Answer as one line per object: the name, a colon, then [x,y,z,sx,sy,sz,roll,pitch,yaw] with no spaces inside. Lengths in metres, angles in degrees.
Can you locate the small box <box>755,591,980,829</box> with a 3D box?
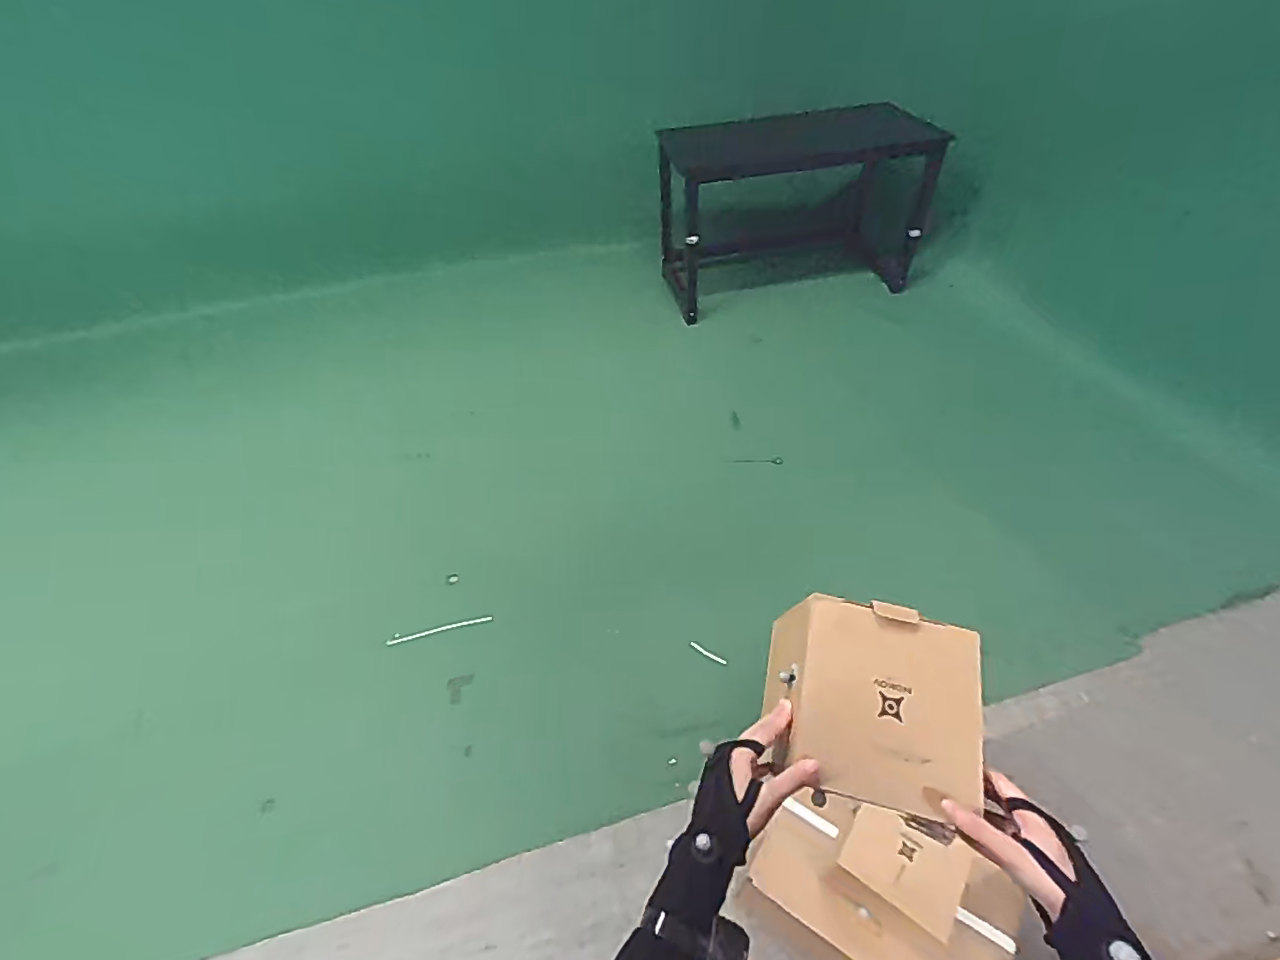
small box: [0.223,0.237,0.567,0.168,0.176,0.179,11,64,6]

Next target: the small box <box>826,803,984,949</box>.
small box: [0.429,0.626,0.897,0.168,0.176,0.179,27,55,27]
